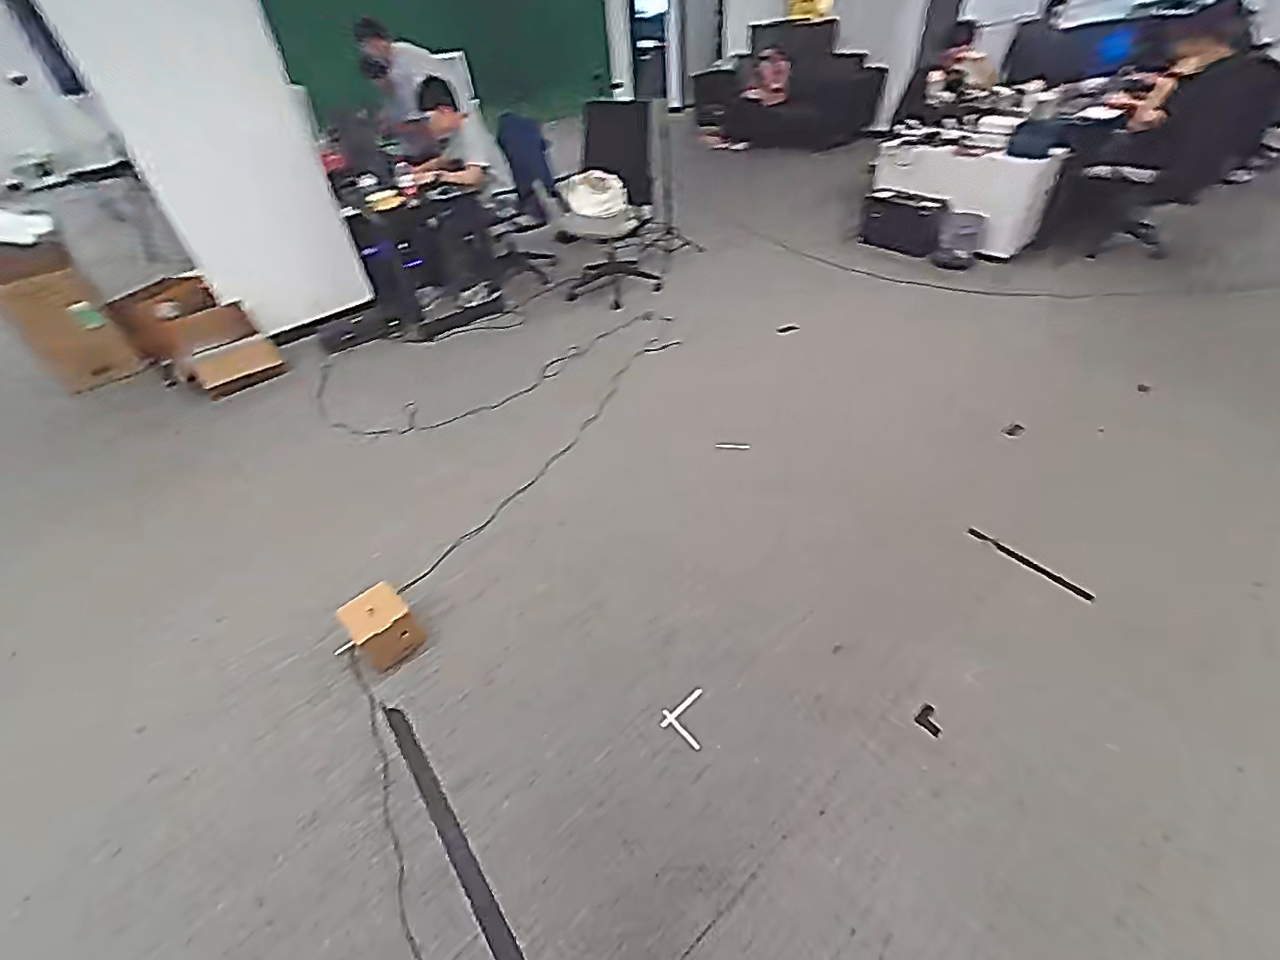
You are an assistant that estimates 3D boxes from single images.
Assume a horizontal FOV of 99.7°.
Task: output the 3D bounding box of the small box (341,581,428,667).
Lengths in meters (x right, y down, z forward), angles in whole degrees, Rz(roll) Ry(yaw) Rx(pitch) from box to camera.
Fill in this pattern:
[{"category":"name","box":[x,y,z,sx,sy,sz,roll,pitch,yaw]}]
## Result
[{"category":"small box","box":[-0.801,0.462,1.711,0.168,0.176,0.179,-35,49,-29]}]
